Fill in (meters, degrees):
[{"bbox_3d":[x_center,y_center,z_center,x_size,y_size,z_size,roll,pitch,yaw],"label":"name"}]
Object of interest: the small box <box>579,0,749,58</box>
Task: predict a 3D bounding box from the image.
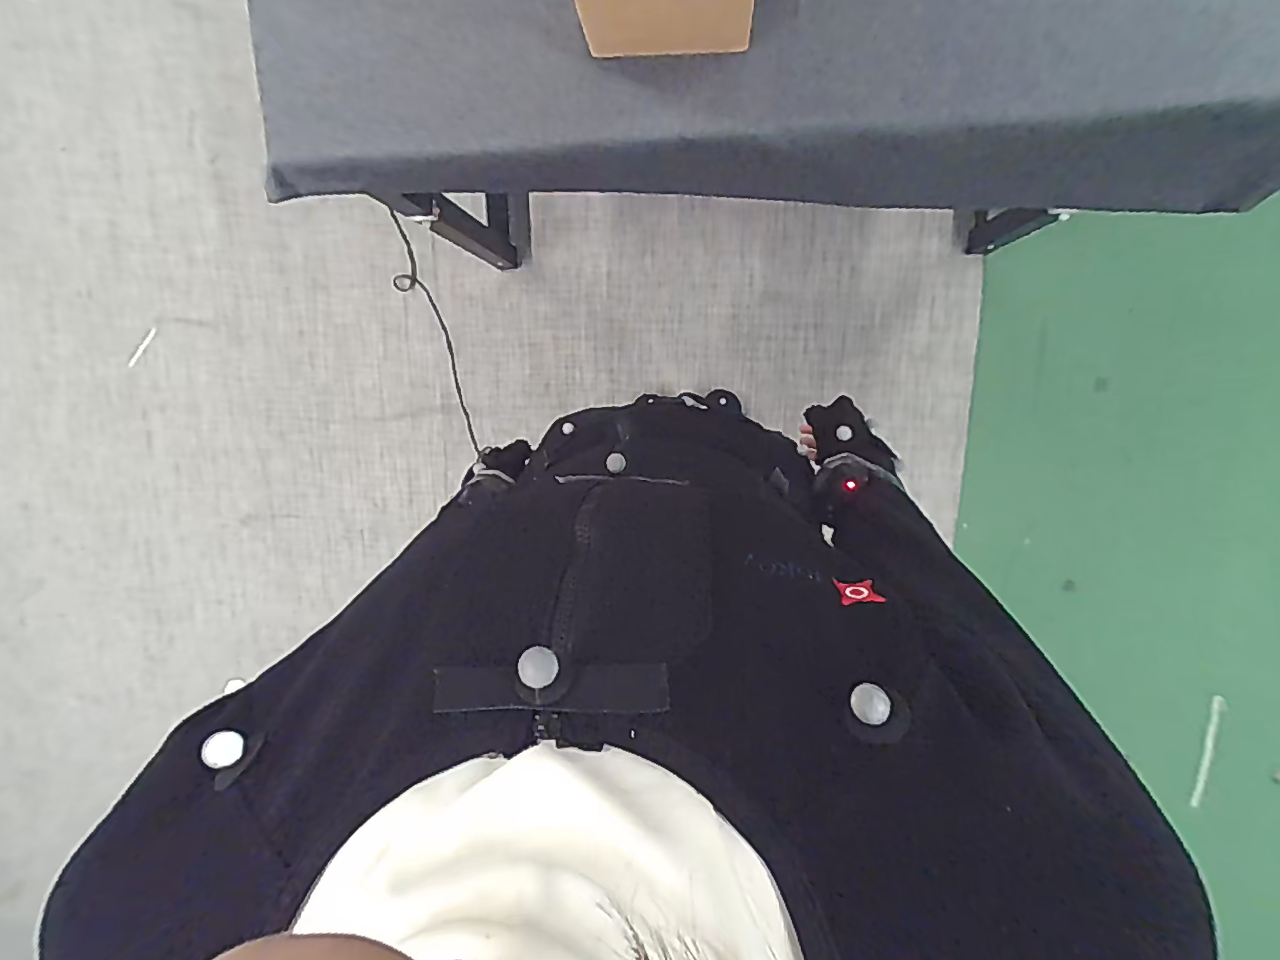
[{"bbox_3d":[0.024,-0.552,0.530,0.179,0.176,0.168,2,101,5],"label":"small box"}]
